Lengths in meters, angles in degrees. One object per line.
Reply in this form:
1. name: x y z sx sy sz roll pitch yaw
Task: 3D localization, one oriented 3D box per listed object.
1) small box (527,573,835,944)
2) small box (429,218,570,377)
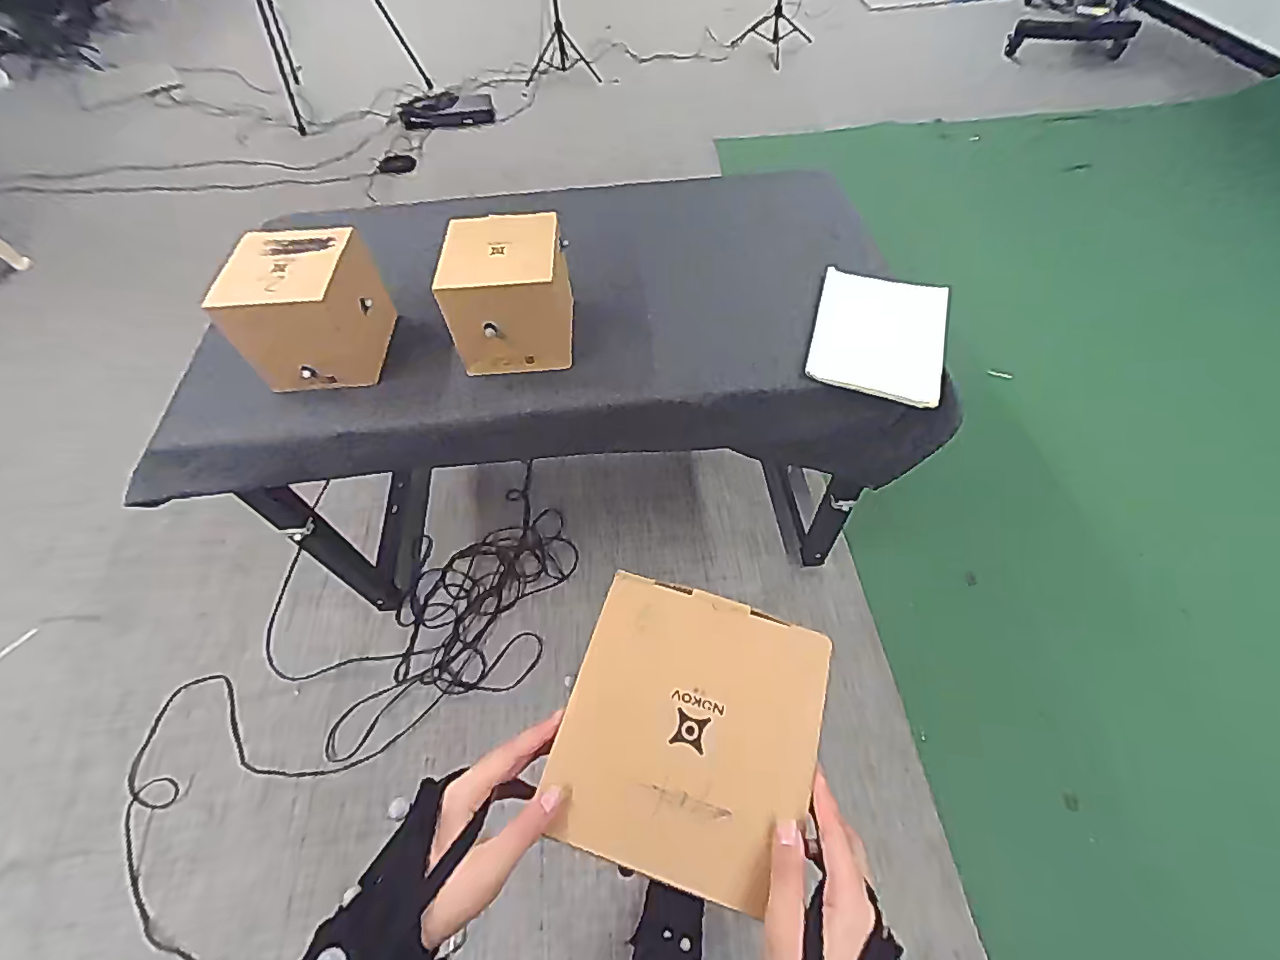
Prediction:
1. small box: 0.032 0.201 0.417 0.168 0.176 0.179 16 61 8
2. small box: -0.203 -0.273 0.835 0.168 0.176 0.179 -4 54 0
